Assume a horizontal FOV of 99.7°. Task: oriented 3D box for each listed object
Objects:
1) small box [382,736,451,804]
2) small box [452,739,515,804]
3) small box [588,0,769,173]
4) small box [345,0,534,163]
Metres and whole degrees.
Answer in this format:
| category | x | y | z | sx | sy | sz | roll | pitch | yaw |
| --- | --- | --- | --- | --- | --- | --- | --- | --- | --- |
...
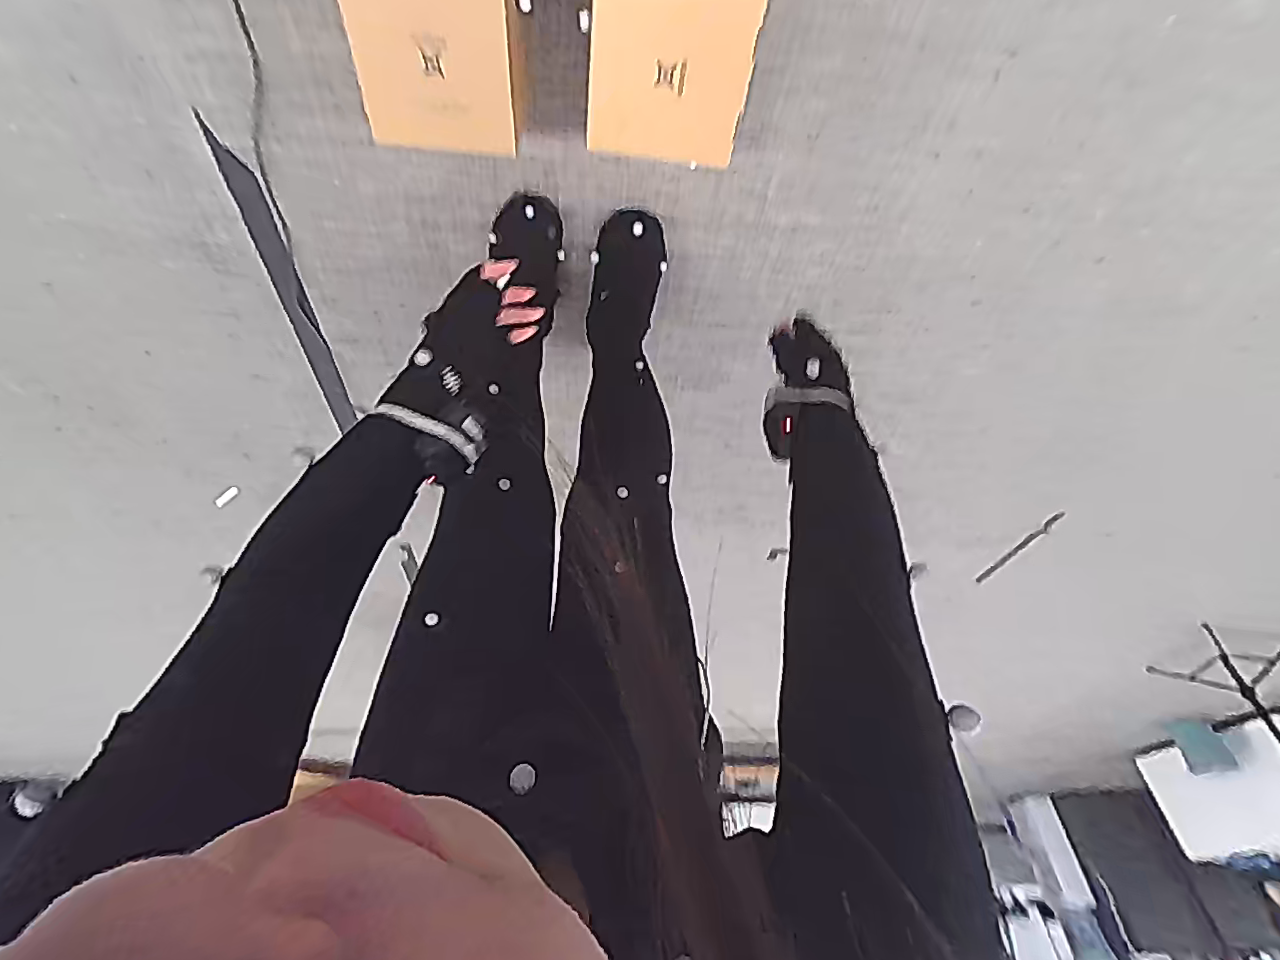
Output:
| category | x | y | z | sx | sy | sz | roll | pitch | yaw |
| --- | --- | --- | --- | --- | --- | --- | --- | --- | --- |
| small box | -0.753 | 0.989 | 1.841 | 0.168 | 0.176 | 0.179 | 5 | 139 | -6 |
| small box | -0.533 | 1.003 | 1.863 | 0.168 | 0.176 | 0.179 | 1 | 139 | -2 |
| small box | 0.033 | -0.496 | 0.645 | 0.179 | 0.176 | 0.168 | 3 | 140 | -7 |
| small box | -0.217 | -0.503 | 0.628 | 0.168 | 0.176 | 0.179 | 4 | 140 | -4 |
